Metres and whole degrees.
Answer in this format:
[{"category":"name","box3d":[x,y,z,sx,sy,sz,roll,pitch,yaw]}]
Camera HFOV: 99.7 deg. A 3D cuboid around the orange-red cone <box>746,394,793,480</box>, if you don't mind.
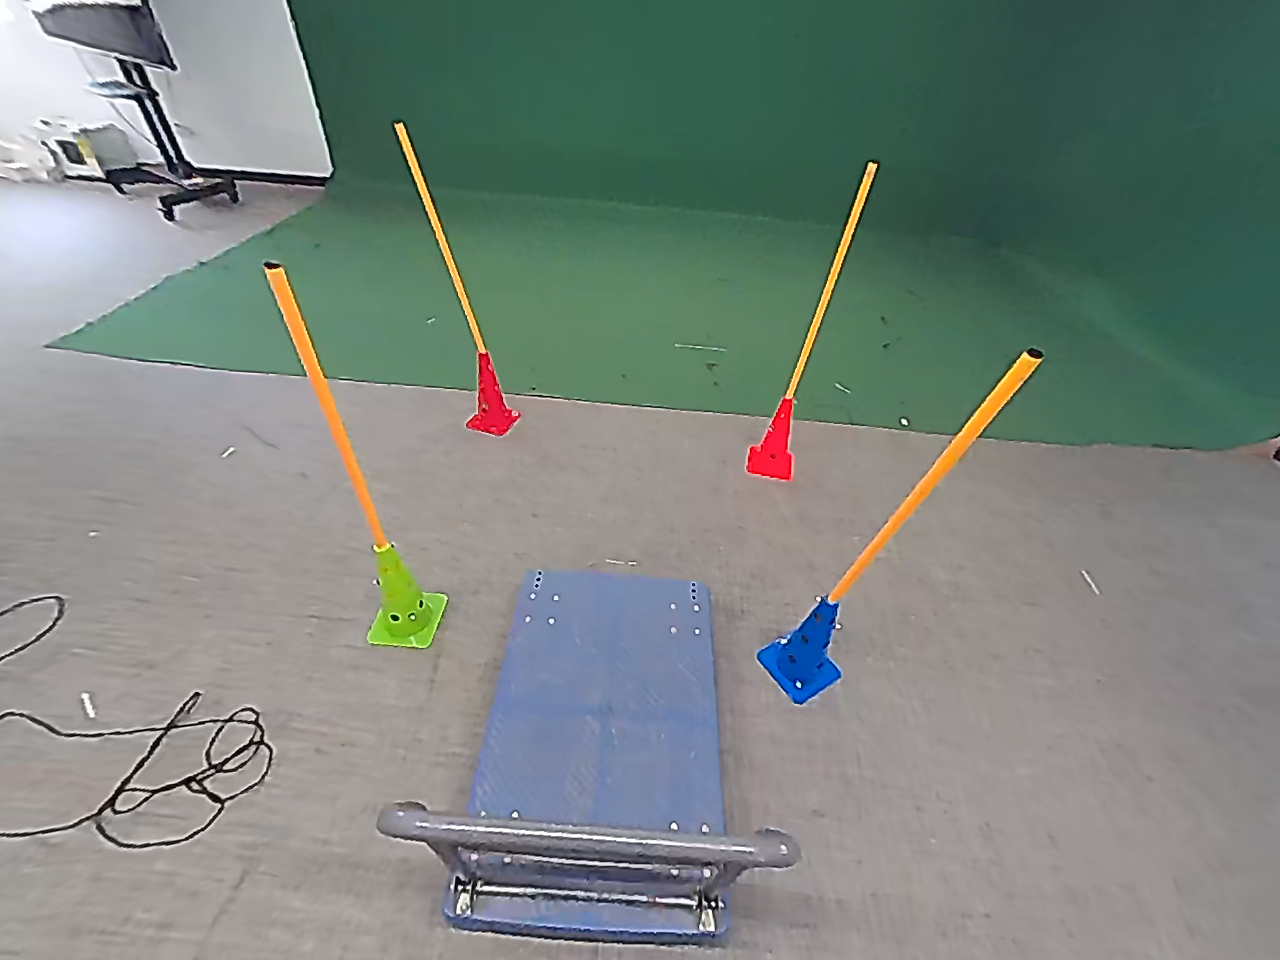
[{"category":"orange-red cone","box3d":[0.587,-0.204,2.297,0.198,0.360,0.199,12,44,10]}]
